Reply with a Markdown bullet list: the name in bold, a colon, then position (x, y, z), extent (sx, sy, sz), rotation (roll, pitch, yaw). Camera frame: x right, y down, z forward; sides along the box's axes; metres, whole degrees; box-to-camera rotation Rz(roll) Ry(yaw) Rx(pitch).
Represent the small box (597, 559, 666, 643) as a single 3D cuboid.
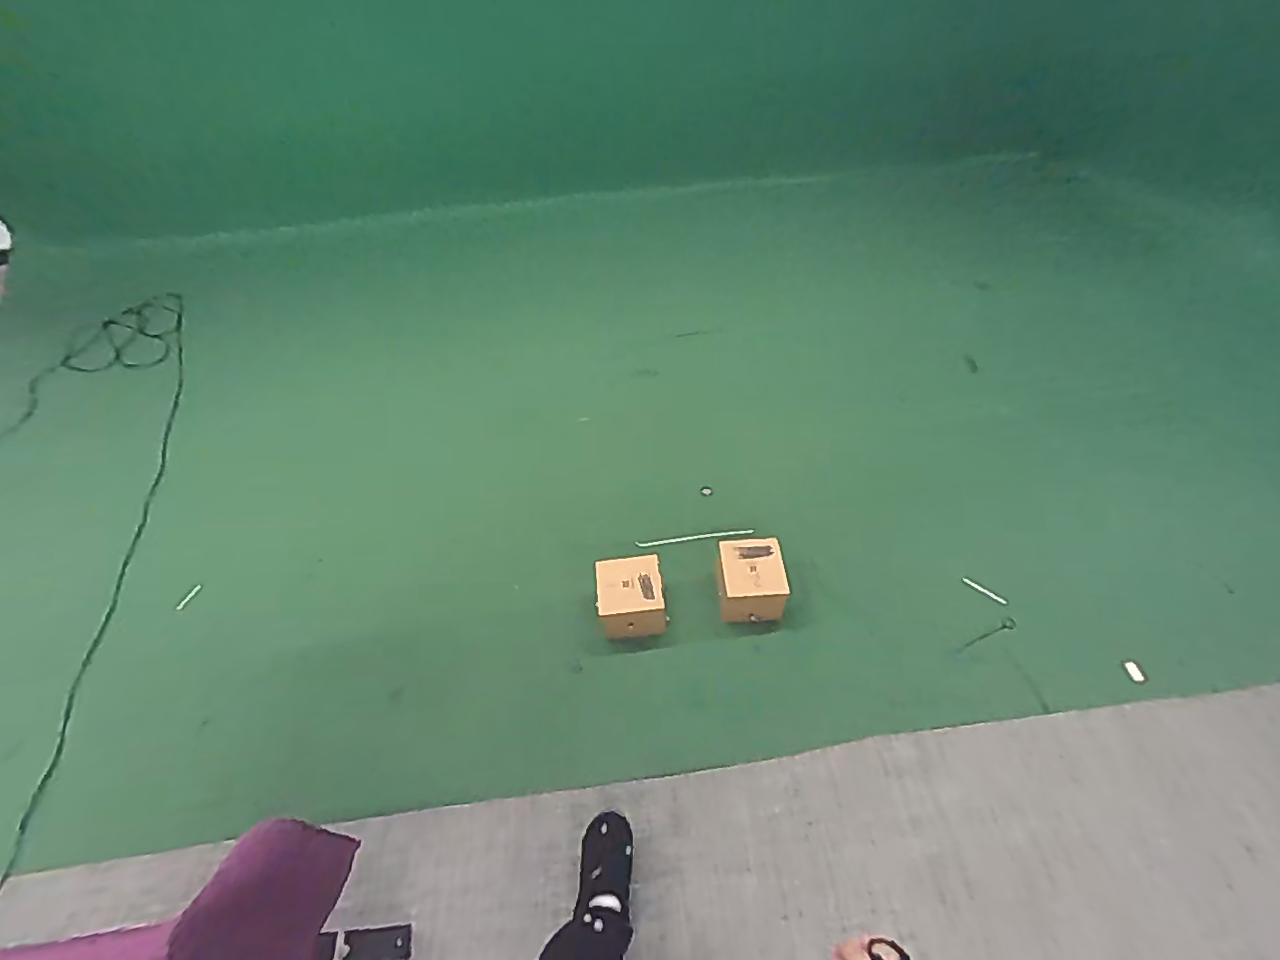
- **small box**: position (-0.022, 0.340, 1.513), extent (0.179, 0.176, 0.168), rotation (-7, 51, 0)
